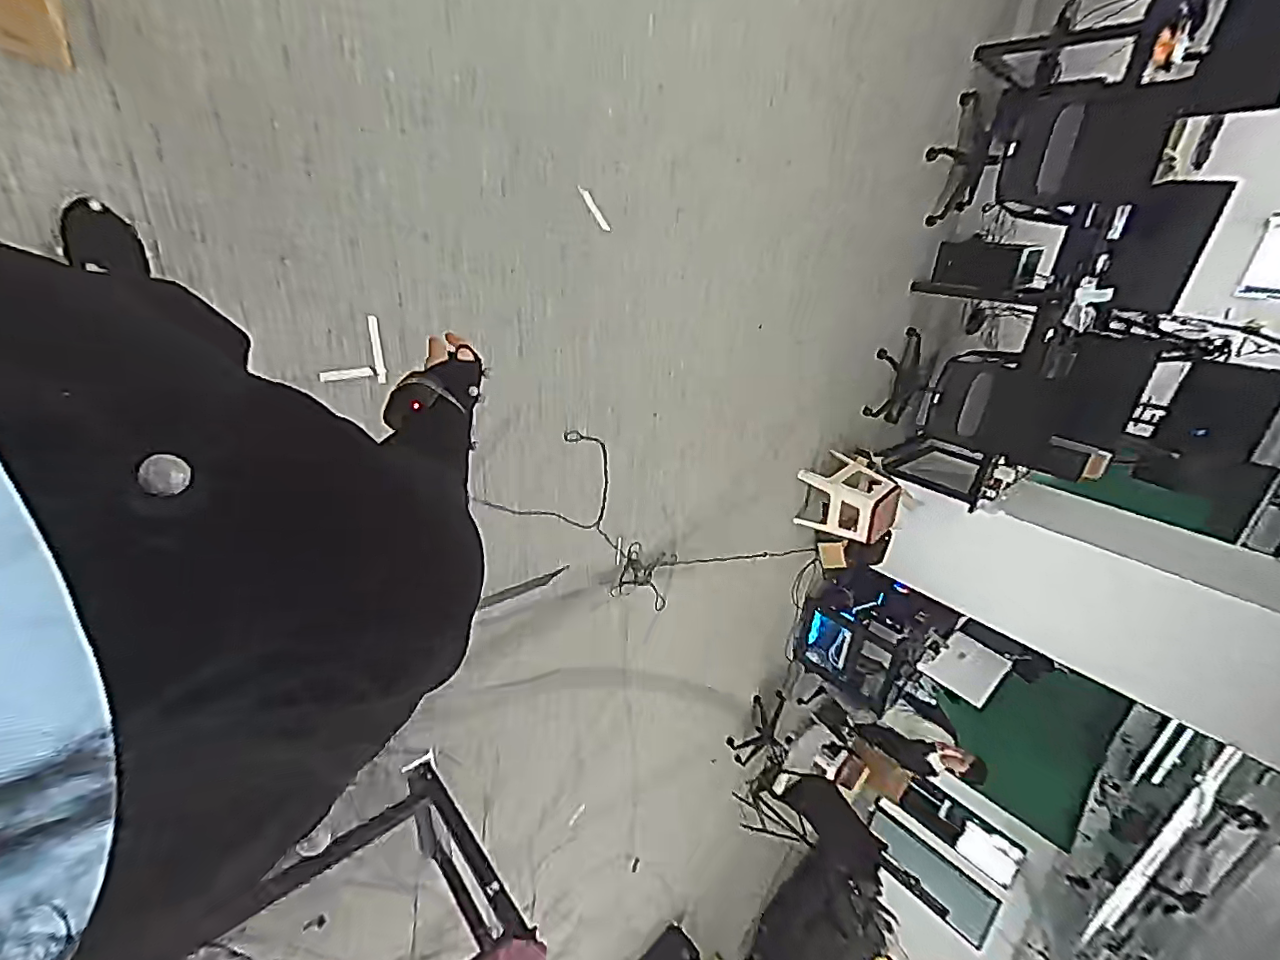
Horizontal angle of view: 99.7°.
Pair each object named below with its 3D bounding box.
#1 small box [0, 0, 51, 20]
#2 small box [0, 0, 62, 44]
[{"bbox_3d":[-0.745,-0.628,0.558,0.168,0.176,0.179,-9,116,-42],"label":"small box"},{"bbox_3d":[-0.849,-0.683,0.669,0.168,0.176,0.179,-8,116,-43],"label":"small box"}]
